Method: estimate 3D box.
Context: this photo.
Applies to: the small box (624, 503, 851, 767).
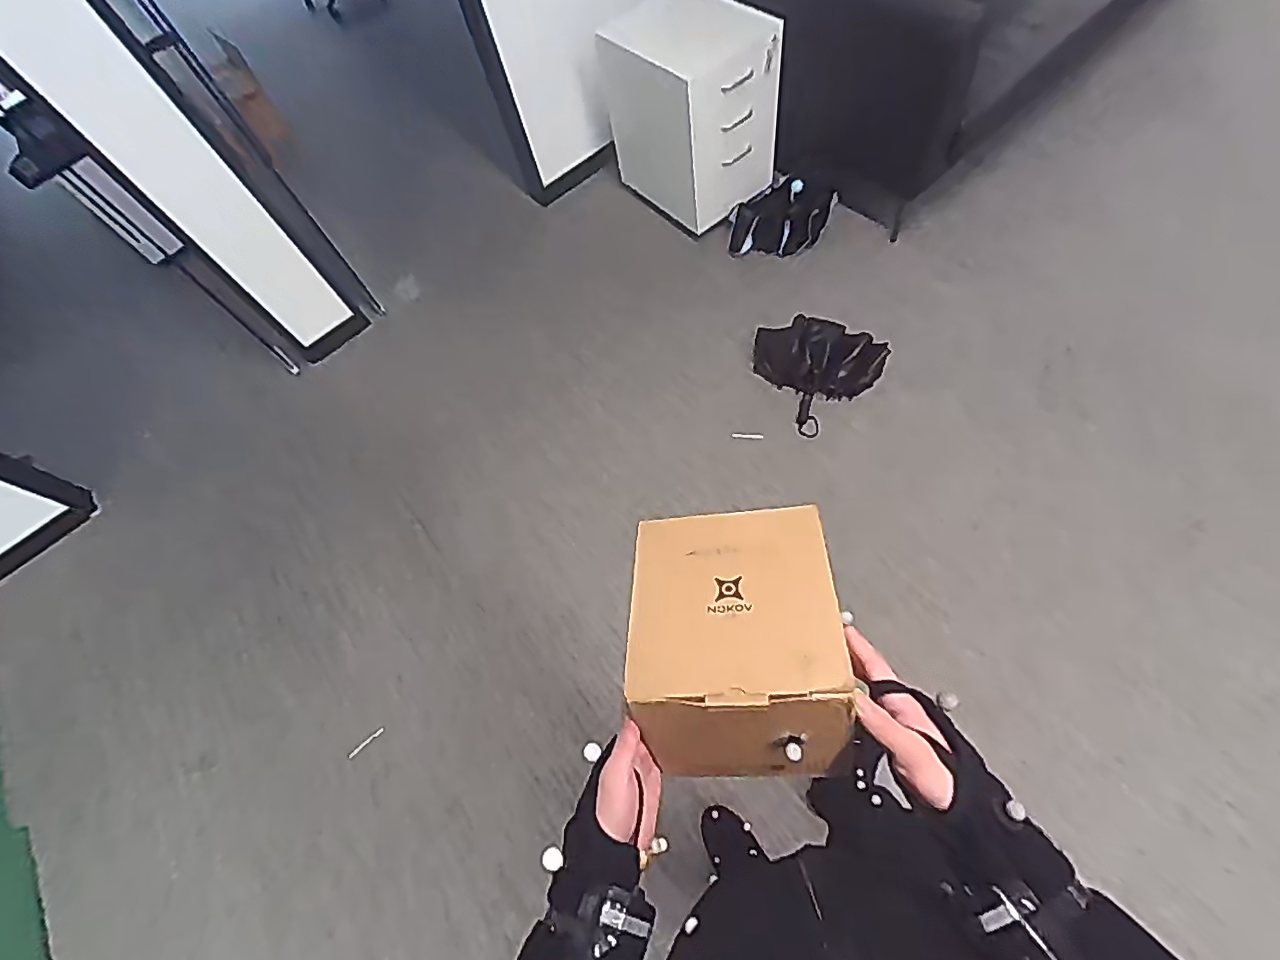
[{"bbox_3d":[0.089,0.146,0.494,0.168,0.176,0.179,-6,43,10],"label":"small box"}]
